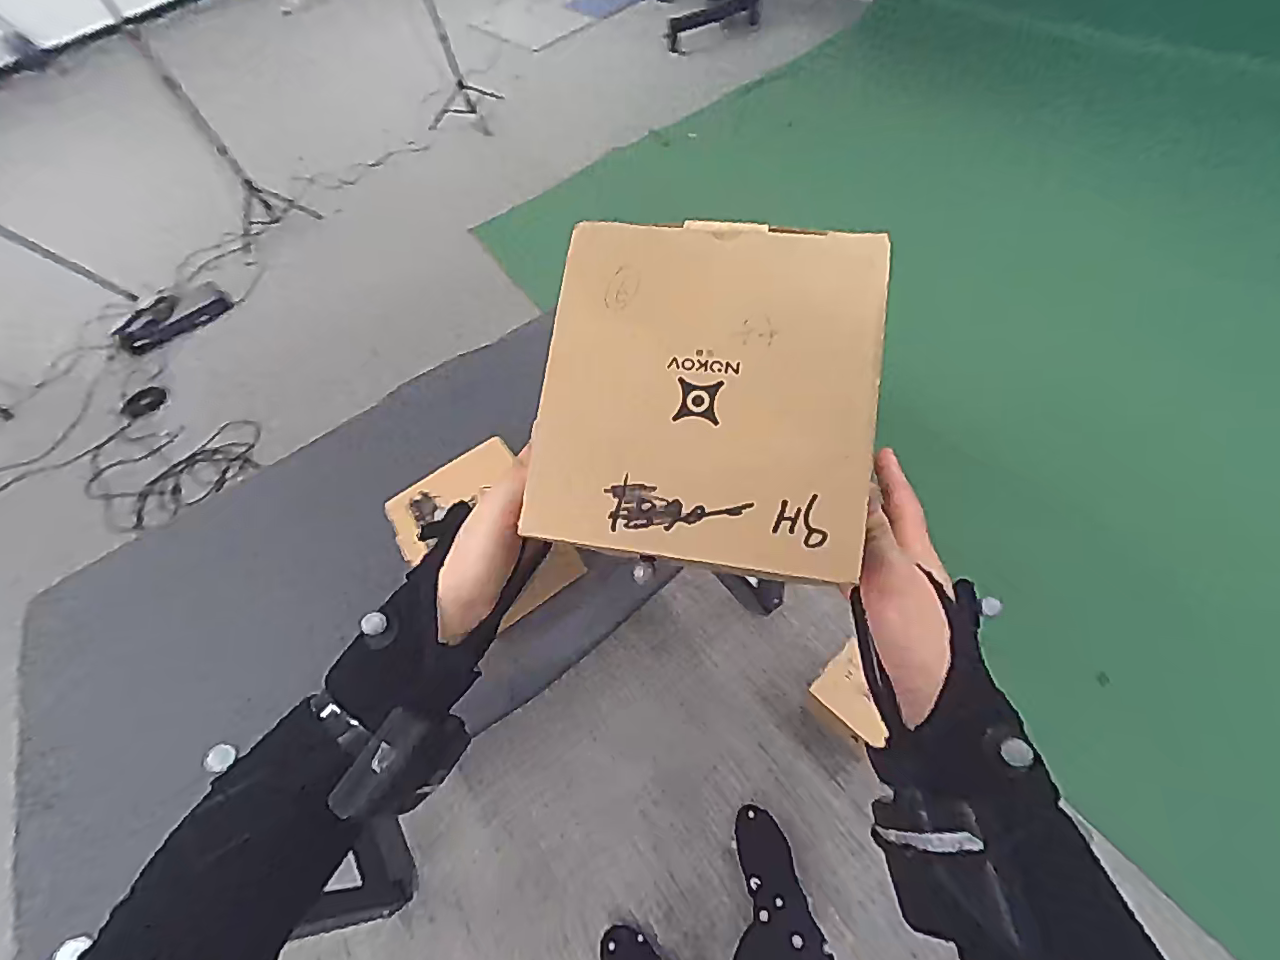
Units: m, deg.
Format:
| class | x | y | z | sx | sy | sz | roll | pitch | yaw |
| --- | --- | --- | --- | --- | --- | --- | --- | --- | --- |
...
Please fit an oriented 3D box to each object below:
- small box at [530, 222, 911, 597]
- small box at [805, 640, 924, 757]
| class | x | y | z | sx | sy | sz | roll | pitch | yaw |
| --- | --- | --- | --- | --- | --- | --- | --- | --- | --- |
| small box | 0.051 | -0.029 | 0.342 | 0.168 | 0.176 | 0.179 | 8 | 81 | 12 |
| small box | 0.496 | 0.498 | 1.219 | 0.168 | 0.176 | 0.179 | -42 | 59 | -16 |
